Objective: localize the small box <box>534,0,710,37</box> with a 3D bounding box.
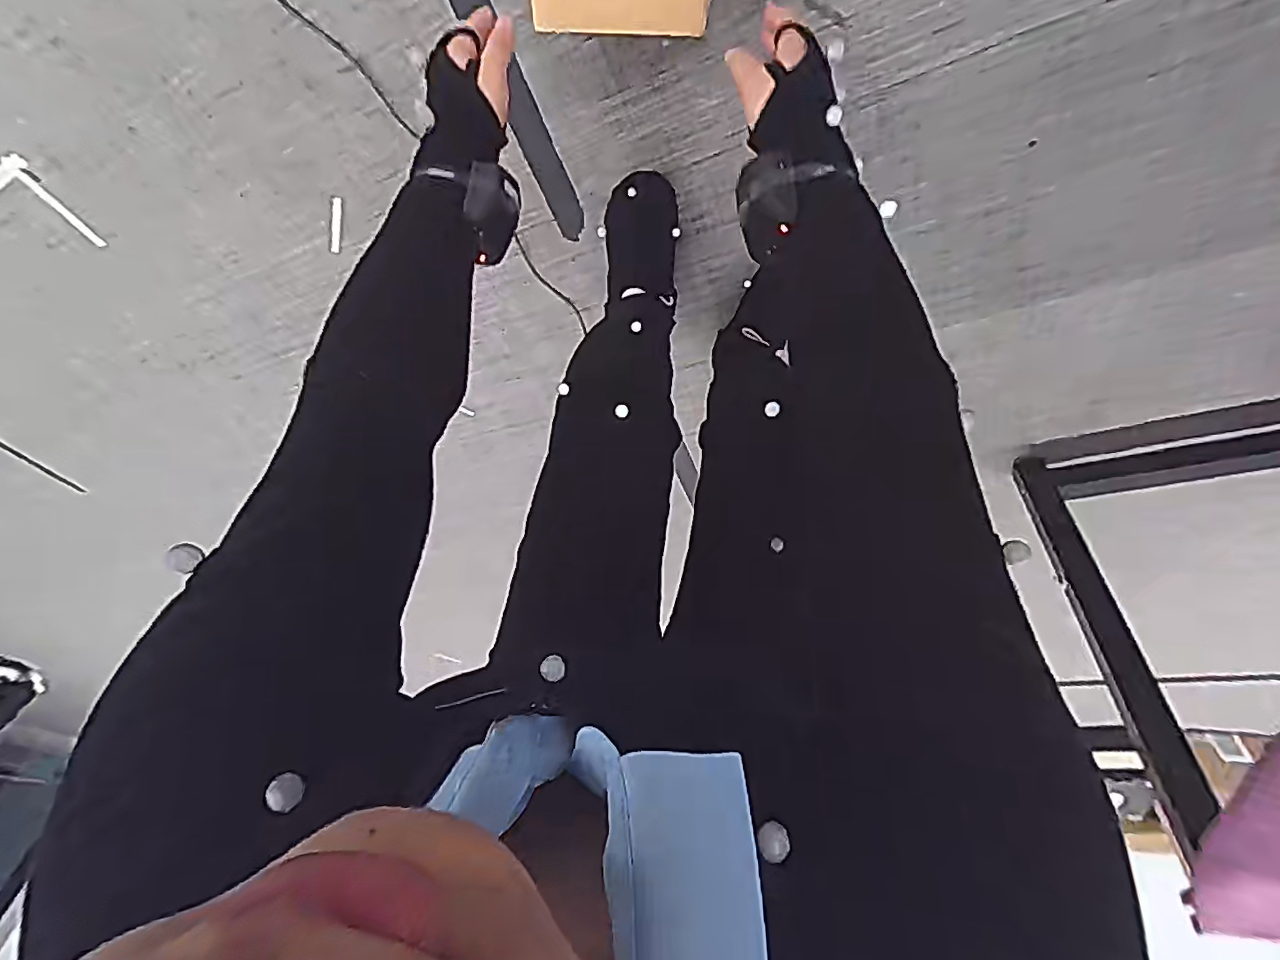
[{"bbox_3d":[-0.010,-0.564,0.537,0.179,0.176,0.168,4,140,4],"label":"small box"}]
